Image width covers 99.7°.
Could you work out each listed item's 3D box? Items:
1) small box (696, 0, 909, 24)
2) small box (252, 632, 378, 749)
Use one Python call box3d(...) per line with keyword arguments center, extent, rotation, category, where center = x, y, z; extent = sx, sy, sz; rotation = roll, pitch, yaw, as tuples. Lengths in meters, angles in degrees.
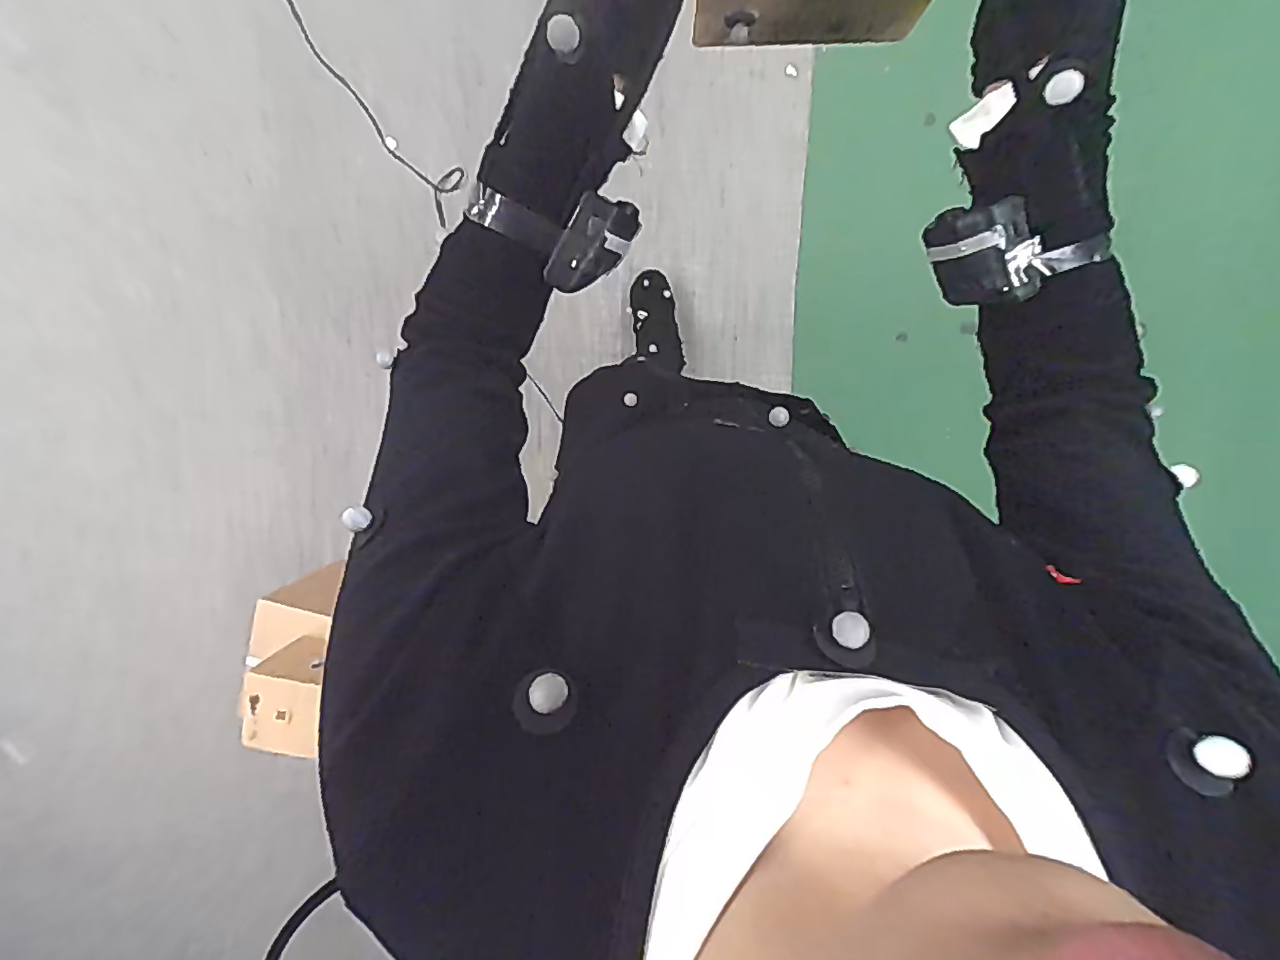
box3d(center=(0.115, -0.416, 0.323), extent=(0.168, 0.176, 0.179), rotation=(-1, 98, 2), category="small box")
box3d(center=(-0.697, 0.448, 1.175), extent=(0.179, 0.176, 0.168), rotation=(9, 99, 1), category="small box")
